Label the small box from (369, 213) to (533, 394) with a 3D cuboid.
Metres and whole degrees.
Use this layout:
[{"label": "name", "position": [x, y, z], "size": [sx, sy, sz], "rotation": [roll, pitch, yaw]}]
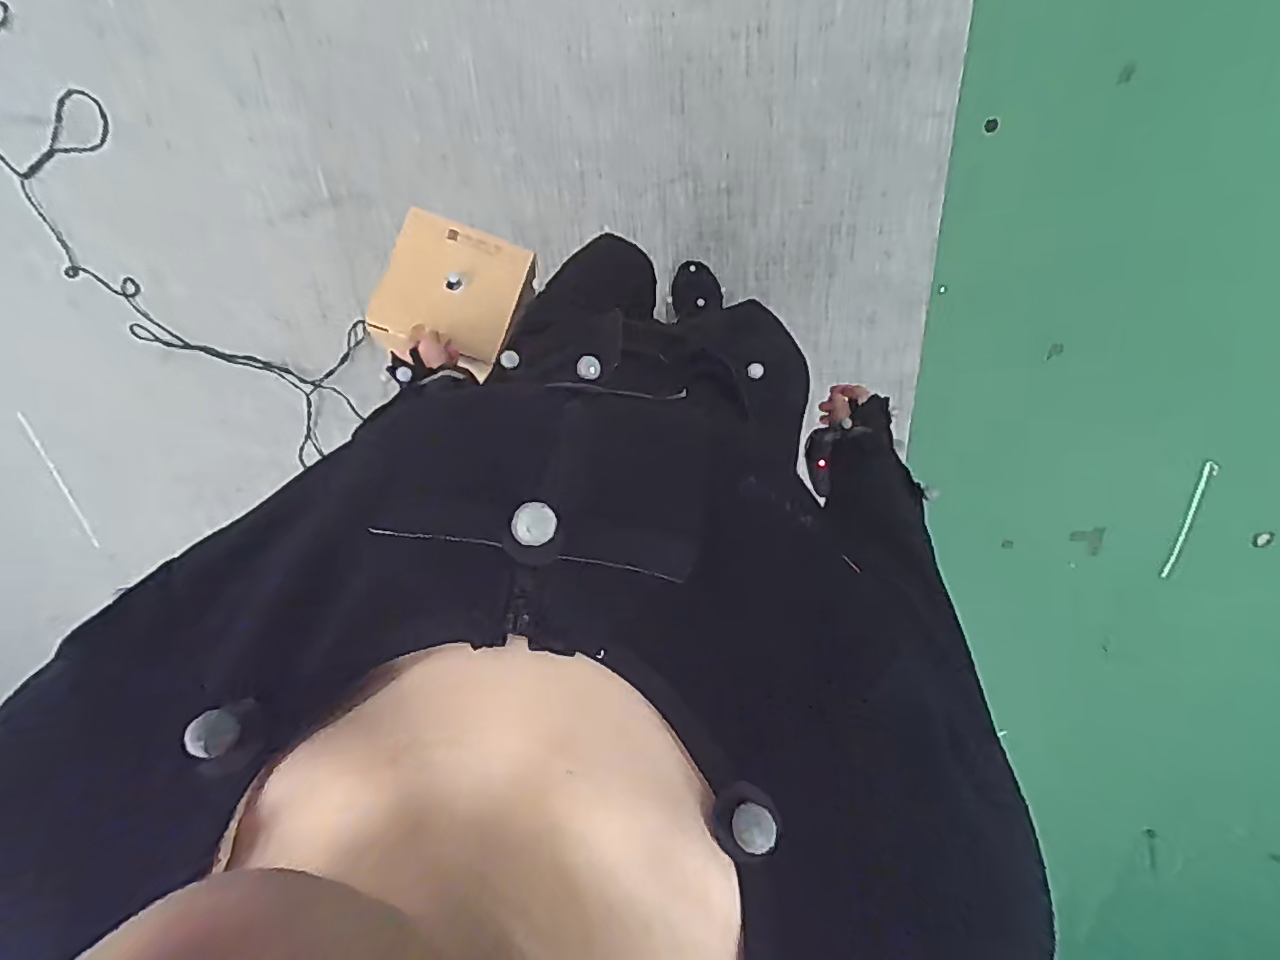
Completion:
[{"label": "small box", "position": [-0.255, -0.243, 0.772], "size": [0.168, 0.179, 0.176], "rotation": [16, 83, -8]}]
